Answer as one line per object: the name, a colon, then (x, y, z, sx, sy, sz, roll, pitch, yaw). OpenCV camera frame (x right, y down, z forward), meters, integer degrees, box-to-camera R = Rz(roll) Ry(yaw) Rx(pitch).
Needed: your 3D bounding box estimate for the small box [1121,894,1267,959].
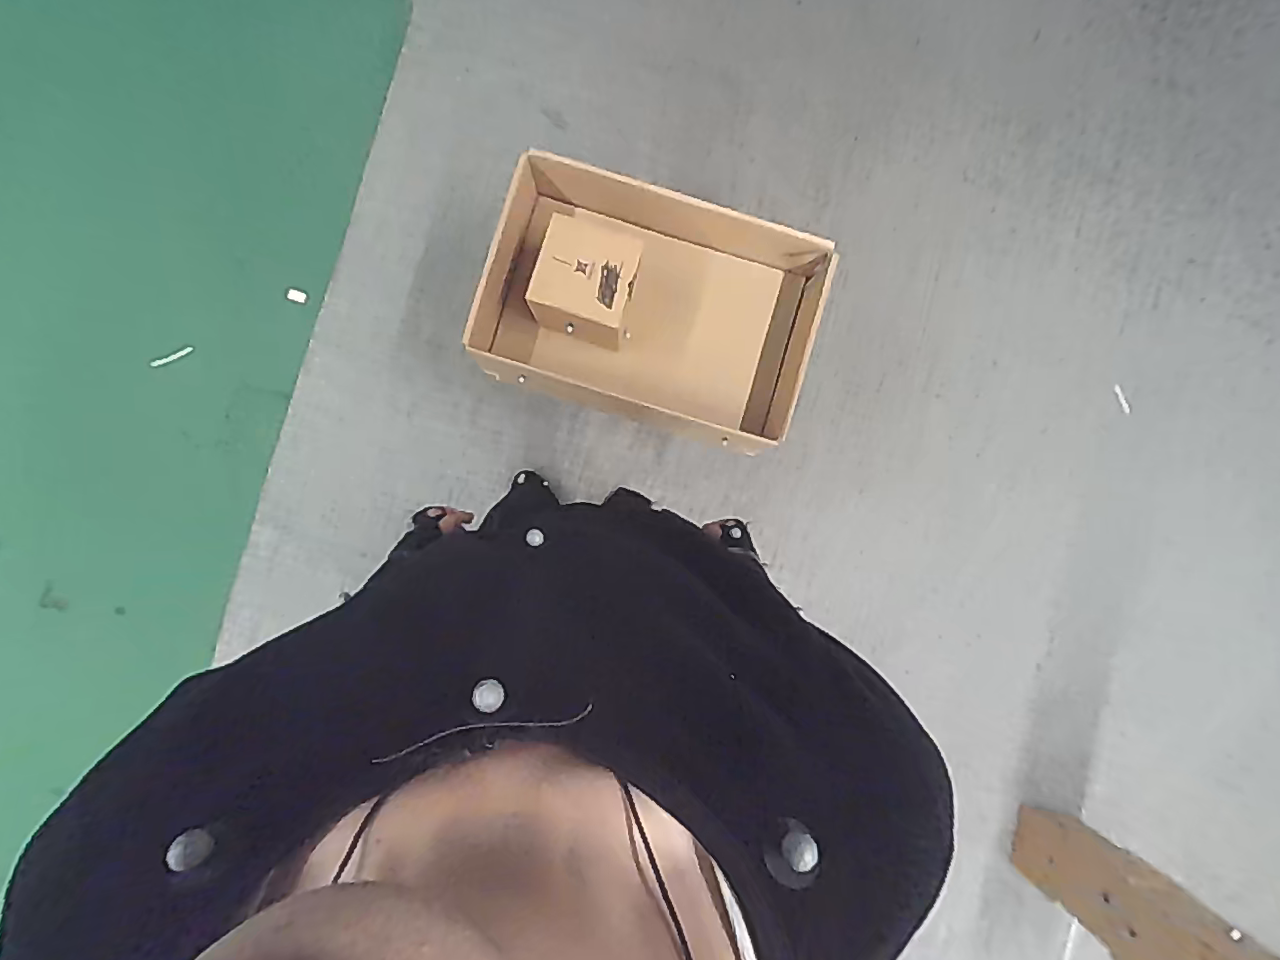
small box: (1.142, 1.006, 1.104, 0.168, 0.176, 0.179, 13, 87, 0)

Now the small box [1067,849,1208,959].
small box: (1.153, 1.014, 1.268, 0.168, 0.176, 0.179, 15, 87, 0)

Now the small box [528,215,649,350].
small box: (-0.093, -0.362, 1.031, 0.179, 0.176, 0.168, 18, 87, -1)

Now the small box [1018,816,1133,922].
small box: (1.146, 1.033, 1.431, 0.168, 0.176, 0.179, 15, 87, -1)
